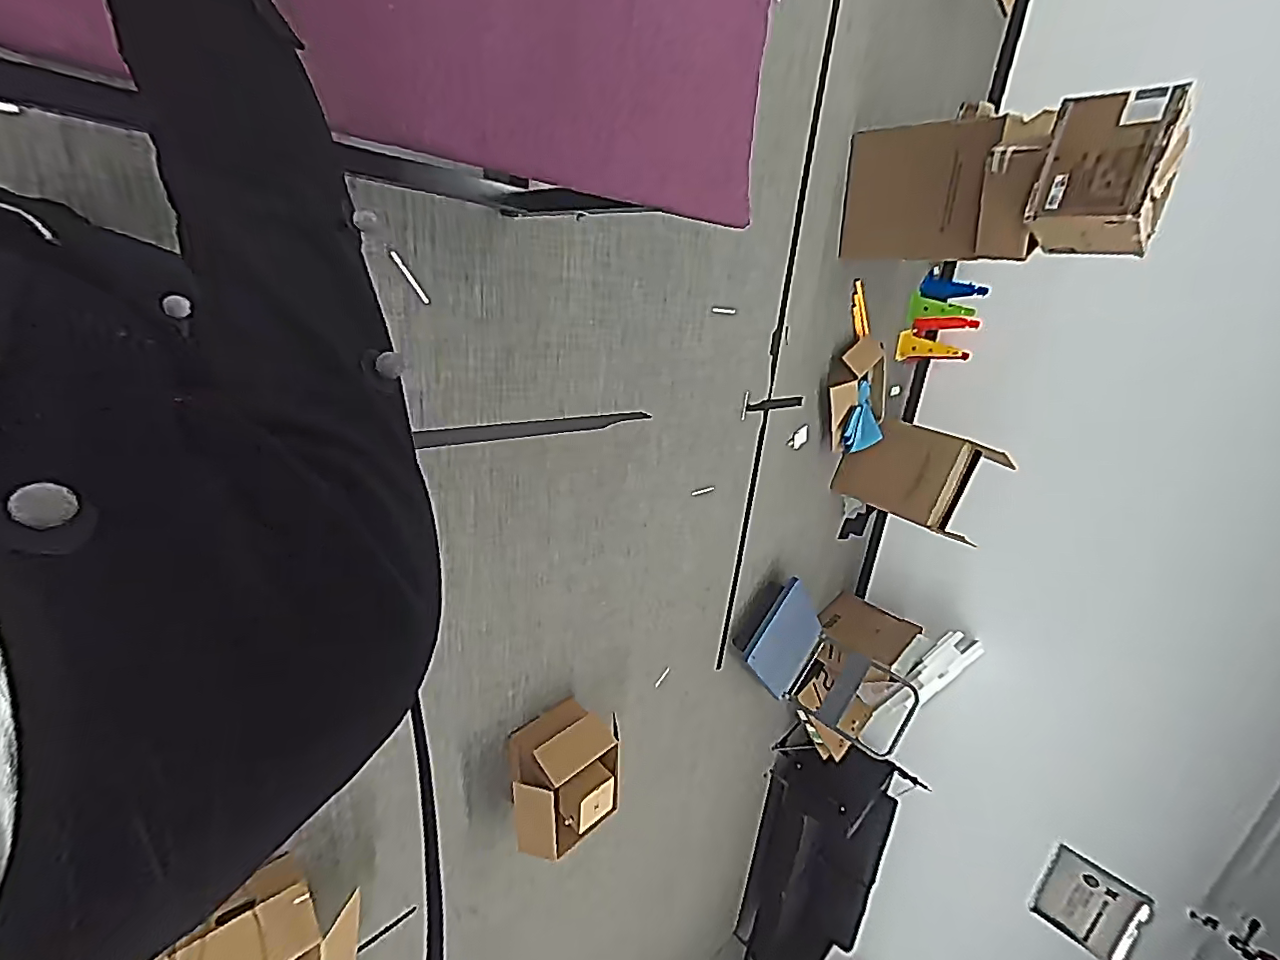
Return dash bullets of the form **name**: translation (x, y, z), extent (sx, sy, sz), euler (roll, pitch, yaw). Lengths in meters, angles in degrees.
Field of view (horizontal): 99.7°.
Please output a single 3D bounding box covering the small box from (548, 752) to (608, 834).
- **small box**: translation (-0.242, 1.202, 2.089), extent (0.168, 0.176, 0.179), euler (-16, 118, -43)
